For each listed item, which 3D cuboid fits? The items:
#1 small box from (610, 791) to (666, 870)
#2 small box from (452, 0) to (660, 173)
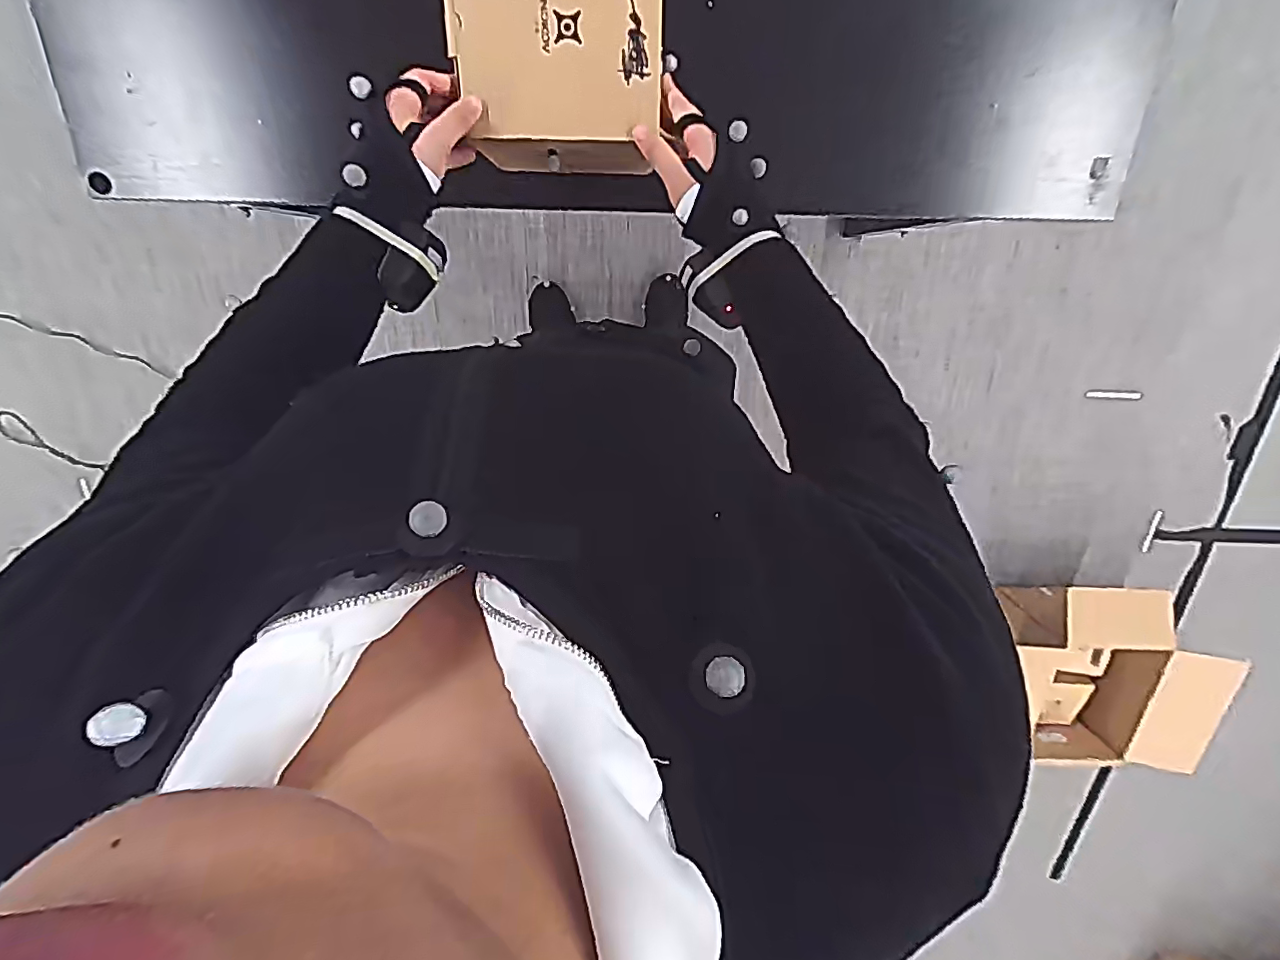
[{"bbox_3d":[-0.010,1.224,1.897,0.179,0.176,0.168,5,109,-2],"label":"small box"},{"bbox_3d":[-0.071,-0.408,0.530,0.179,0.176,0.168,0,111,-1],"label":"small box"}]
